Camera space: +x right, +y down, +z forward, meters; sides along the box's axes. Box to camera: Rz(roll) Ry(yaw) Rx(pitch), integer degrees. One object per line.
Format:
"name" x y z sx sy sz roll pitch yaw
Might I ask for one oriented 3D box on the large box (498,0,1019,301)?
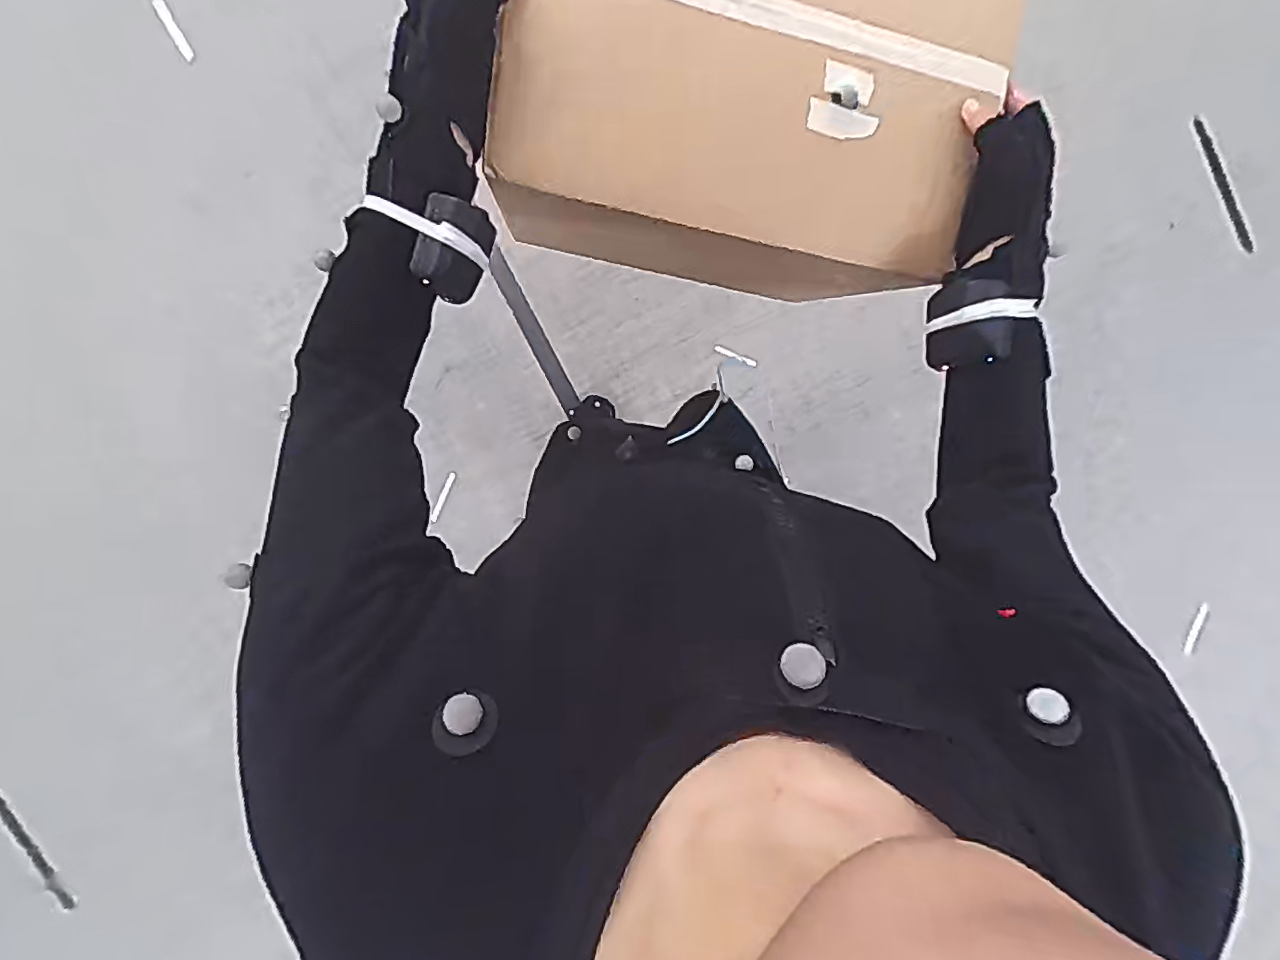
"large box" 0.082 -0.394 0.569 0.408 0.320 0.320 9 104 -12
